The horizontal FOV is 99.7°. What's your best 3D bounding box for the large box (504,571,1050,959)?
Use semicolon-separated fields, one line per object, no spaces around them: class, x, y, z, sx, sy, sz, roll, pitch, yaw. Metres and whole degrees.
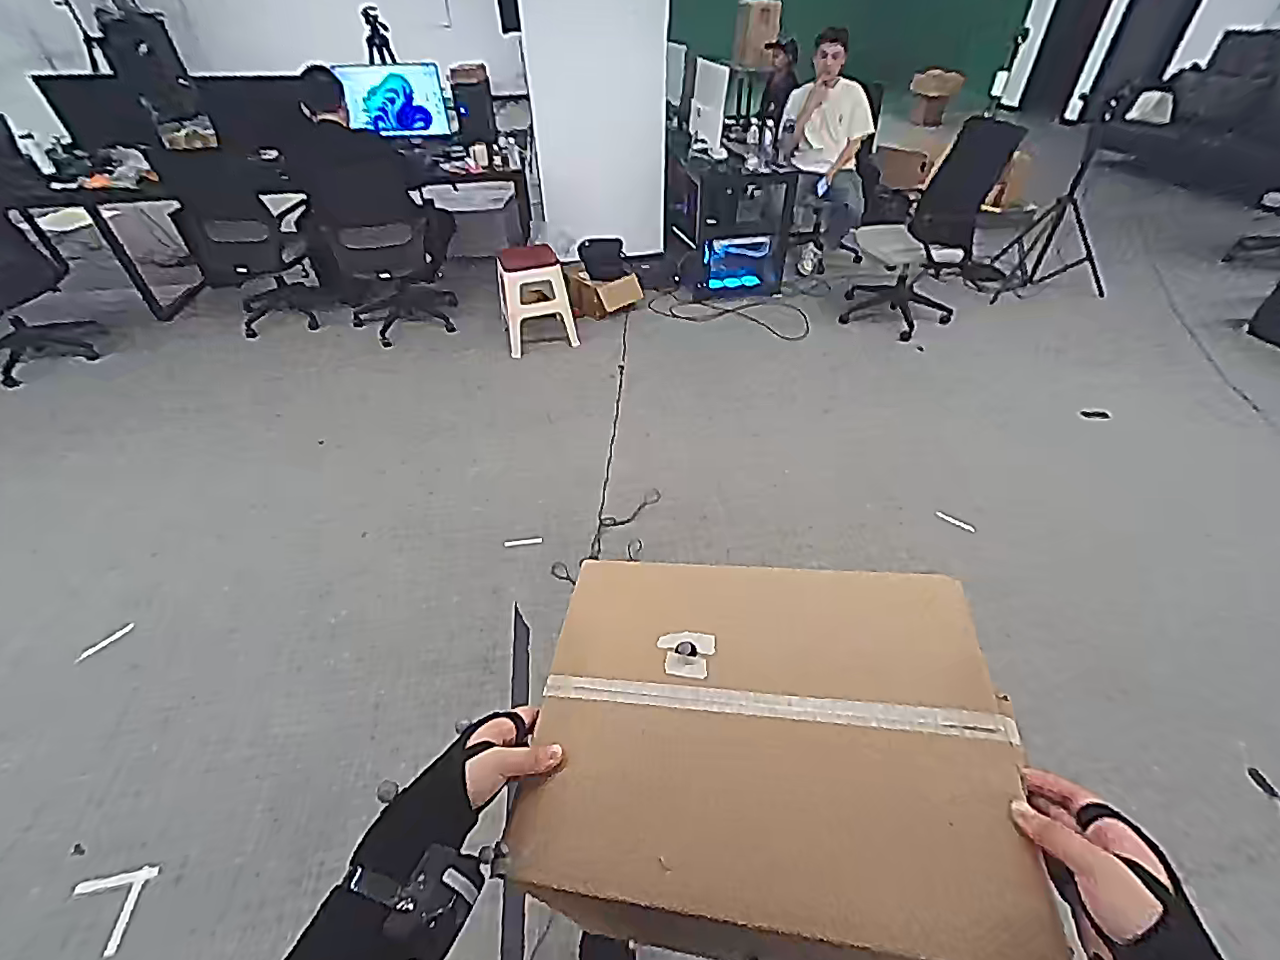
large box;0.130;0.318;0.603;0.408;0.320;0.320;-1;43;14
